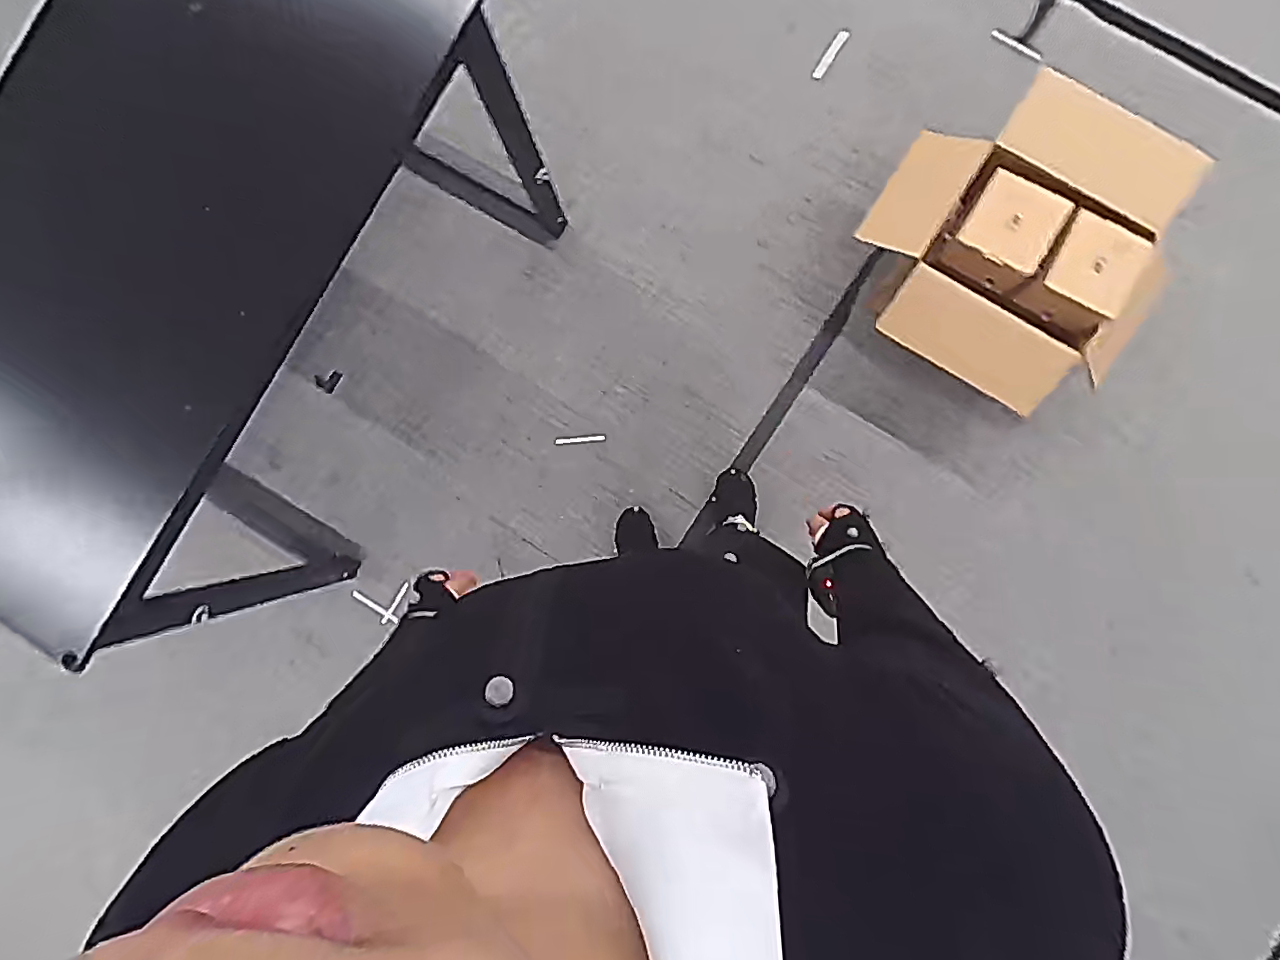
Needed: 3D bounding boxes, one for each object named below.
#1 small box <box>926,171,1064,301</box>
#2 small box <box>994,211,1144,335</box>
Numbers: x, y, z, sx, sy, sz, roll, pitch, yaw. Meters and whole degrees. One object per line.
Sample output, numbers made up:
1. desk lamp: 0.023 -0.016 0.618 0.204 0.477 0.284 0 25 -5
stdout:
1. small box: 0.774 -0.531 1.205 0.168 0.176 0.179 30 89 6
2. small box: 0.930 -0.444 1.195 0.168 0.176 0.179 26 91 -1
